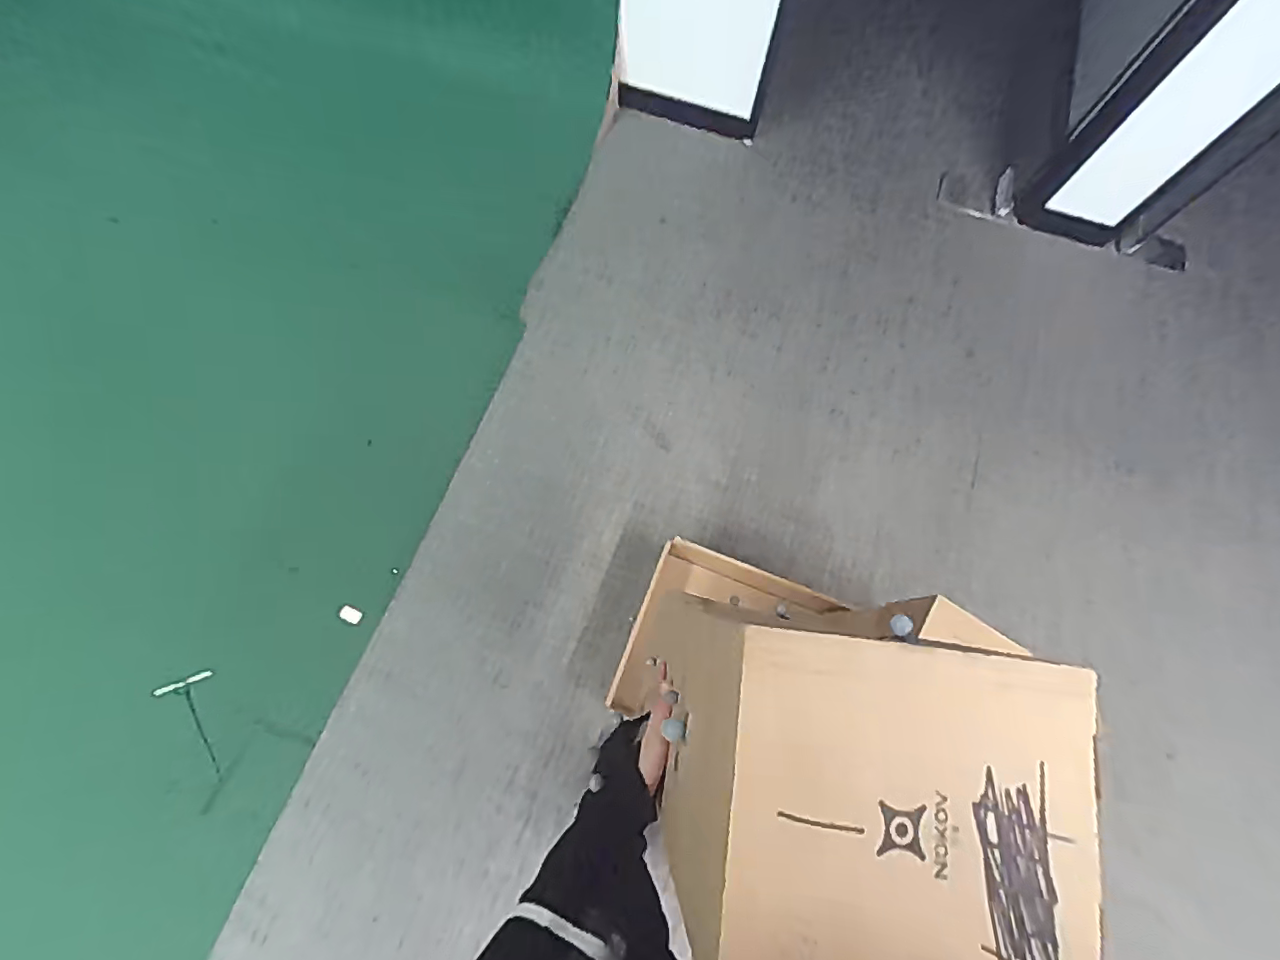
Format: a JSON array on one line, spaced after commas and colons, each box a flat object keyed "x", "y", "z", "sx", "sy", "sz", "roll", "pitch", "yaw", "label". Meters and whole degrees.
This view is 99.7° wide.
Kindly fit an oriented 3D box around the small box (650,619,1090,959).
[{"x": 0.108, "y": 0.176, "z": 0.315, "sx": 0.179, "sy": 0.176, "sz": 0.168, "roll": 8, "pitch": 78, "yaw": -2, "label": "small box"}]

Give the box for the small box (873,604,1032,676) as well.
[{"x": 0.471, "y": 0.326, "z": 0.874, "sx": 0.168, "sy": 0.176, "sz": 0.179, "roll": 34, "pitch": 74, "yaw": 8, "label": "small box"}]

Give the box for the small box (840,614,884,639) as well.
[{"x": 0.462, "y": 0.378, "z": 1.029, "sx": 0.179, "sy": 0.176, "sz": 0.168, "roll": 32, "pitch": 74, "yaw": 8, "label": "small box"}]
